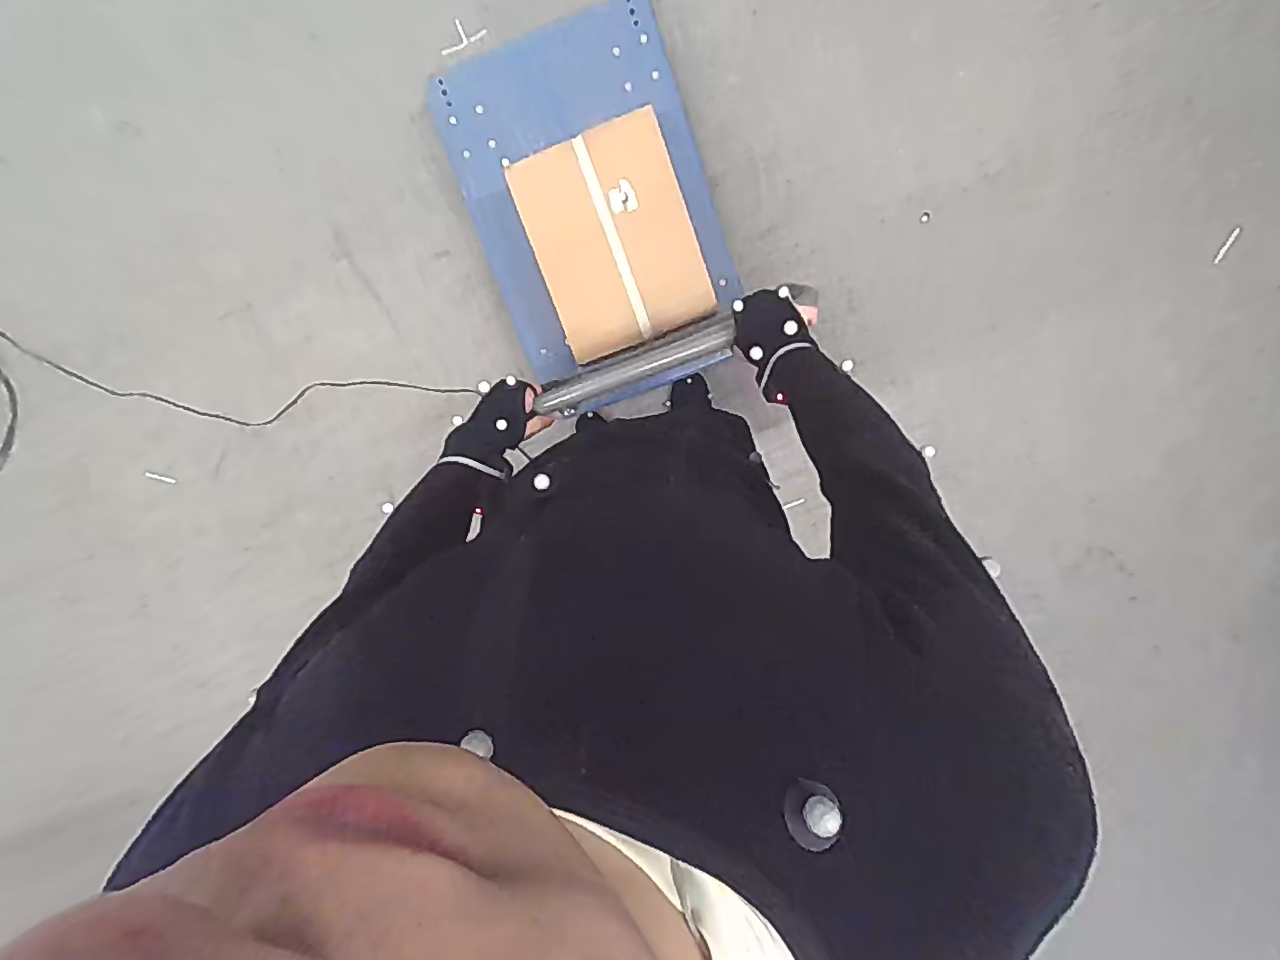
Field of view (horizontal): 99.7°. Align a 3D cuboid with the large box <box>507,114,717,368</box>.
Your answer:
[{"bbox_3d":[-0.047,-0.500,1.230,0.320,0.320,0.408,-20,99,4],"label":"large box"}]
